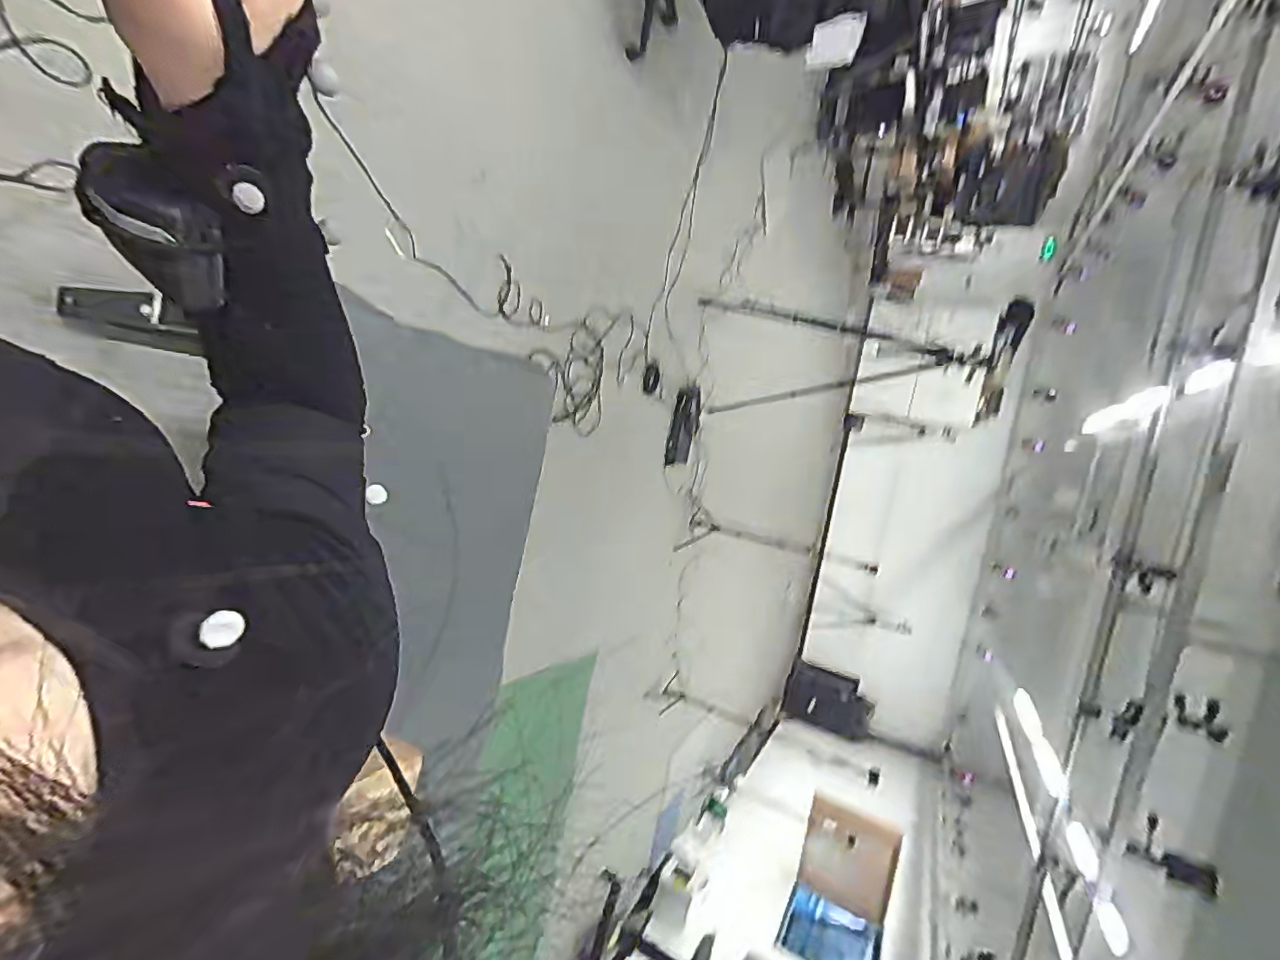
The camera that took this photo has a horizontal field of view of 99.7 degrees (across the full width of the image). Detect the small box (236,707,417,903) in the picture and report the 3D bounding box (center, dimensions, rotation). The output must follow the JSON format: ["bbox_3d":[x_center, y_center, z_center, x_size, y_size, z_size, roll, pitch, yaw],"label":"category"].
[{"bbox_3d":[-0.489,0.488,0.844,0.168,0.176,0.179,13,90,-64],"label":"small box"}]
